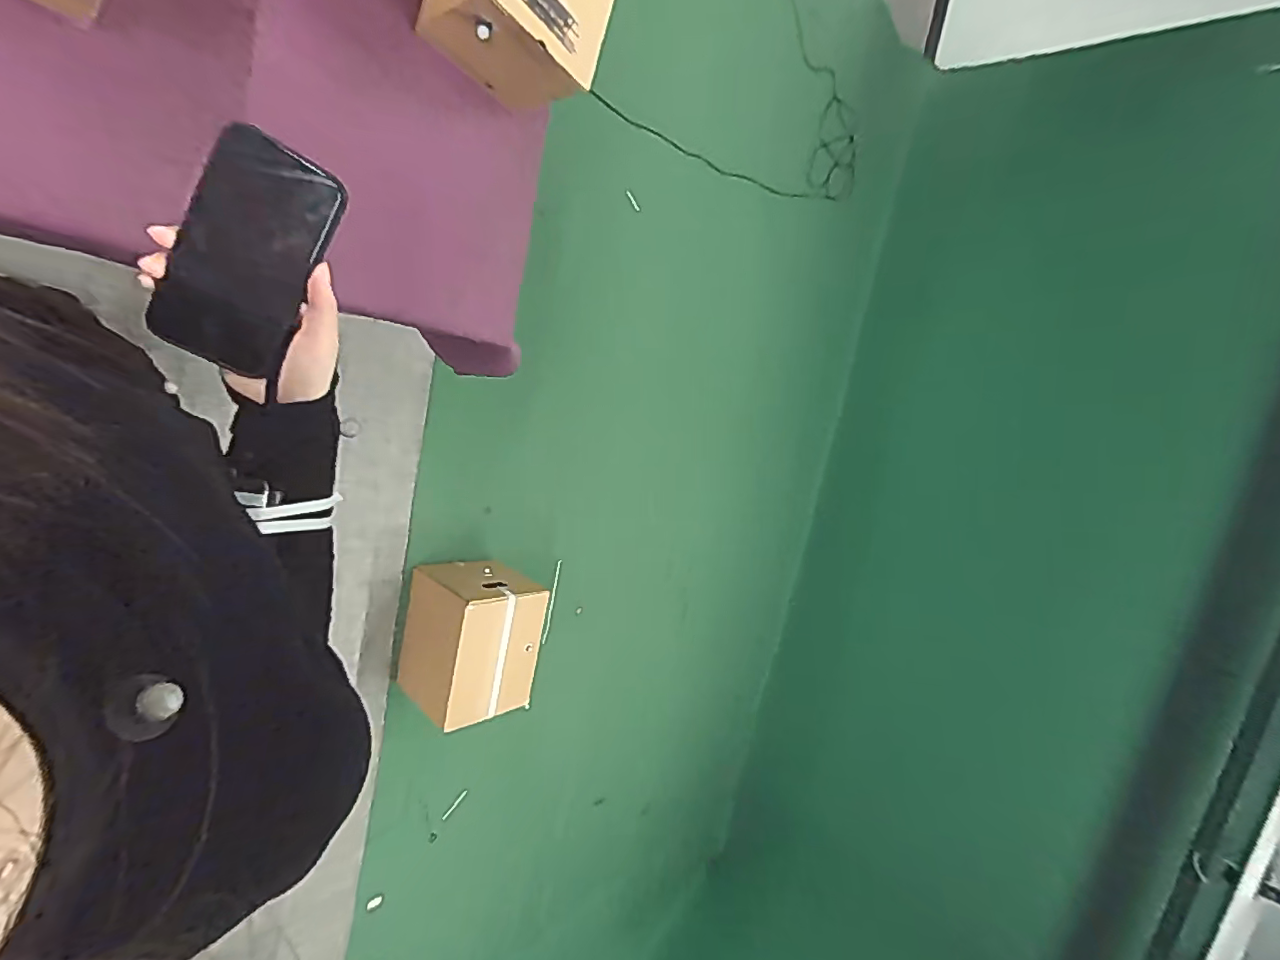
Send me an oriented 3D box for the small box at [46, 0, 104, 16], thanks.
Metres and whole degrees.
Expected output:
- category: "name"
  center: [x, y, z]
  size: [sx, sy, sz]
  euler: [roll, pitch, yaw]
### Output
- category: "small box"
  center: [-0.477, -0.482, 0.377]
  size: [0.168, 0.176, 0.179]
  euler: [2, 104, -51]
